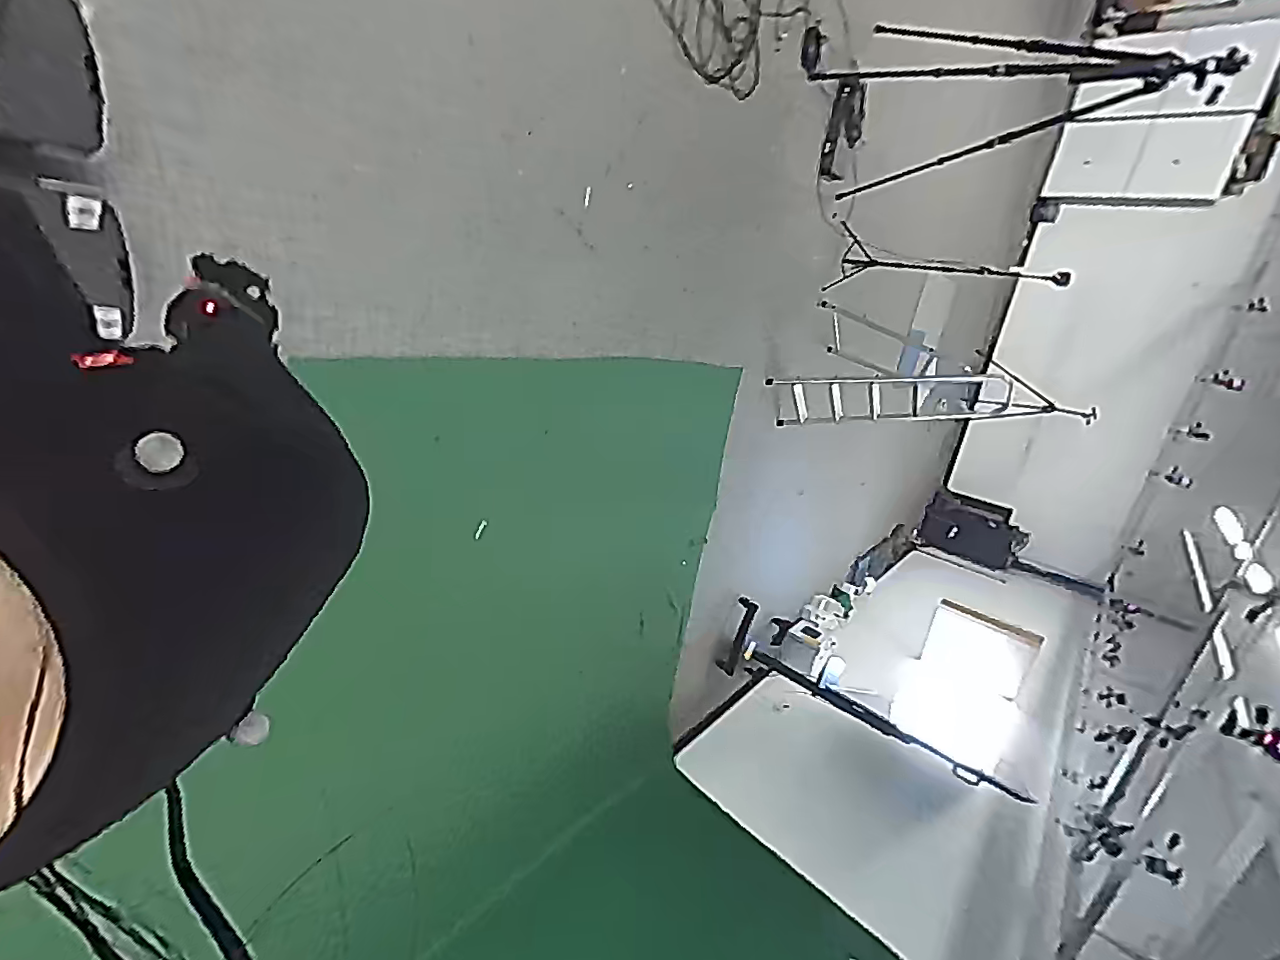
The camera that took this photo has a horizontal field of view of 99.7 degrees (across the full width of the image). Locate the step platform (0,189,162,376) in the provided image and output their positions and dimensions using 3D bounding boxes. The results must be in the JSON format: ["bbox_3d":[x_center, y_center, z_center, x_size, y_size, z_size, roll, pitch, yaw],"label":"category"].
[{"bbox_3d":[-1.153,-0.303,0.769,0.684,0.204,0.286,-14,119,-49],"label":"step platform"}]
